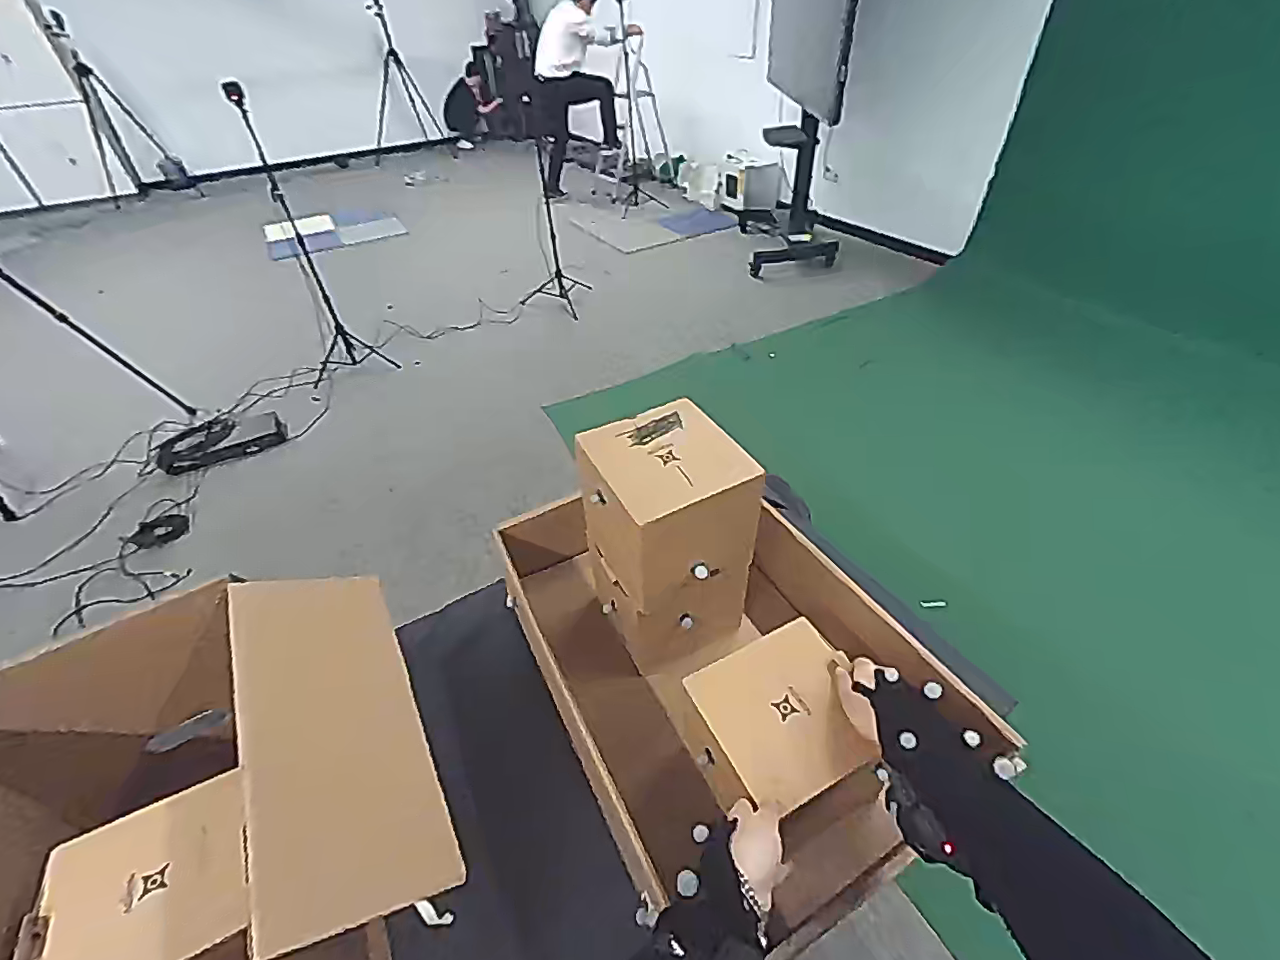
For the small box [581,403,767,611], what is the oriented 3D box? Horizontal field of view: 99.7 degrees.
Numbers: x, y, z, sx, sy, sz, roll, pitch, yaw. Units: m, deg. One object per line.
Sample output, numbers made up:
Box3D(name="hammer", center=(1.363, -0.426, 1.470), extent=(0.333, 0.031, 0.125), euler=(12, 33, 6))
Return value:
Box3D(name="small box", center=(0.037, 0.033, 0.694), extent=(0.168, 0.176, 0.179), euler=(-21, 46, -18))
